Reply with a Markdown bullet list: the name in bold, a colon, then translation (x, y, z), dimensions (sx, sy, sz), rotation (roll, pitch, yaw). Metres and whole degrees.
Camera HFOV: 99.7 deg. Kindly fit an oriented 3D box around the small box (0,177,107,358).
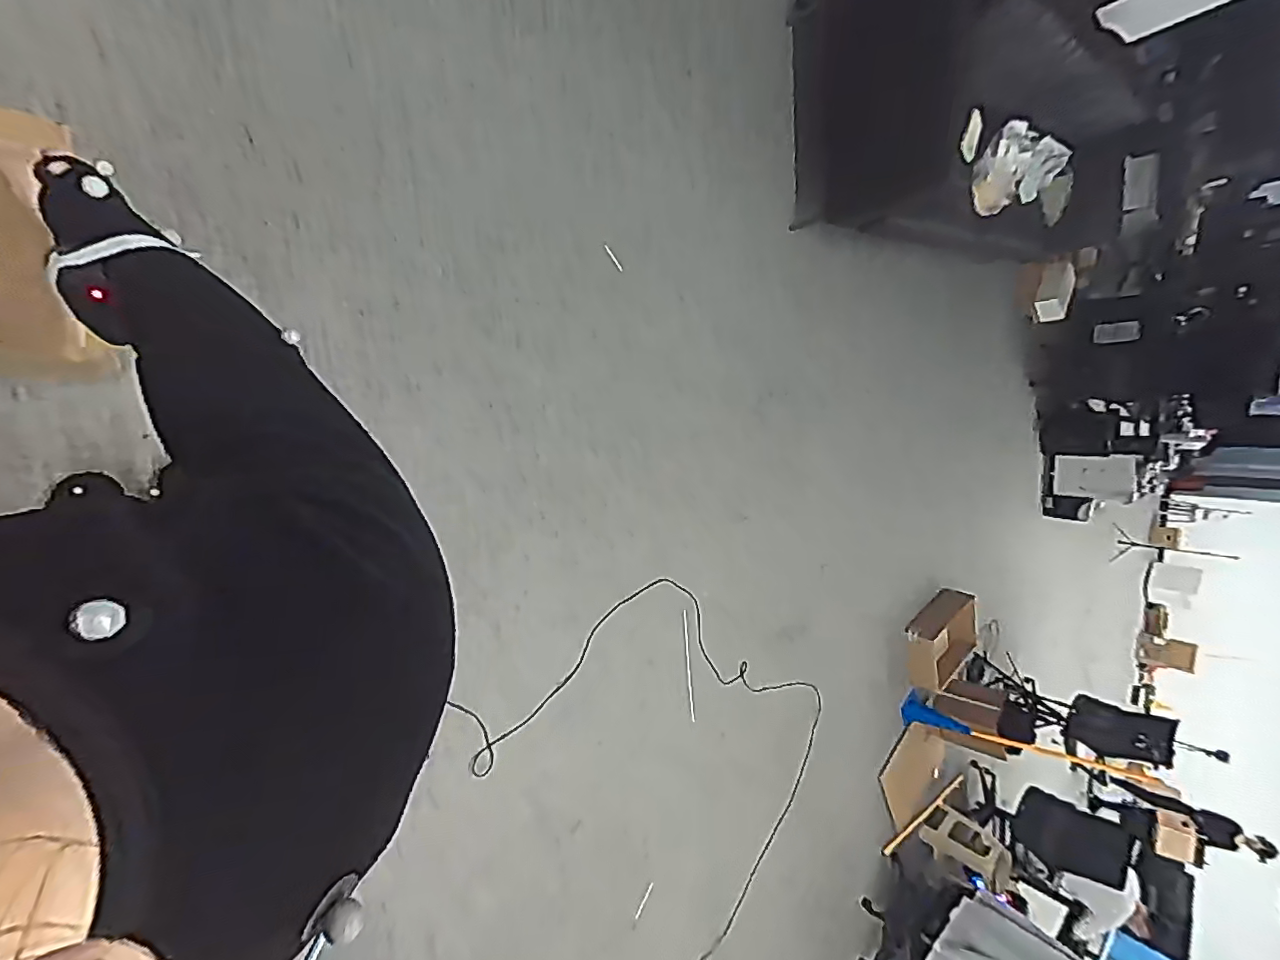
- **small box**: translation (-0.745, -0.235, 0.619), dimensions (0.168, 0.176, 0.179), rotation (-9, 100, -38)
